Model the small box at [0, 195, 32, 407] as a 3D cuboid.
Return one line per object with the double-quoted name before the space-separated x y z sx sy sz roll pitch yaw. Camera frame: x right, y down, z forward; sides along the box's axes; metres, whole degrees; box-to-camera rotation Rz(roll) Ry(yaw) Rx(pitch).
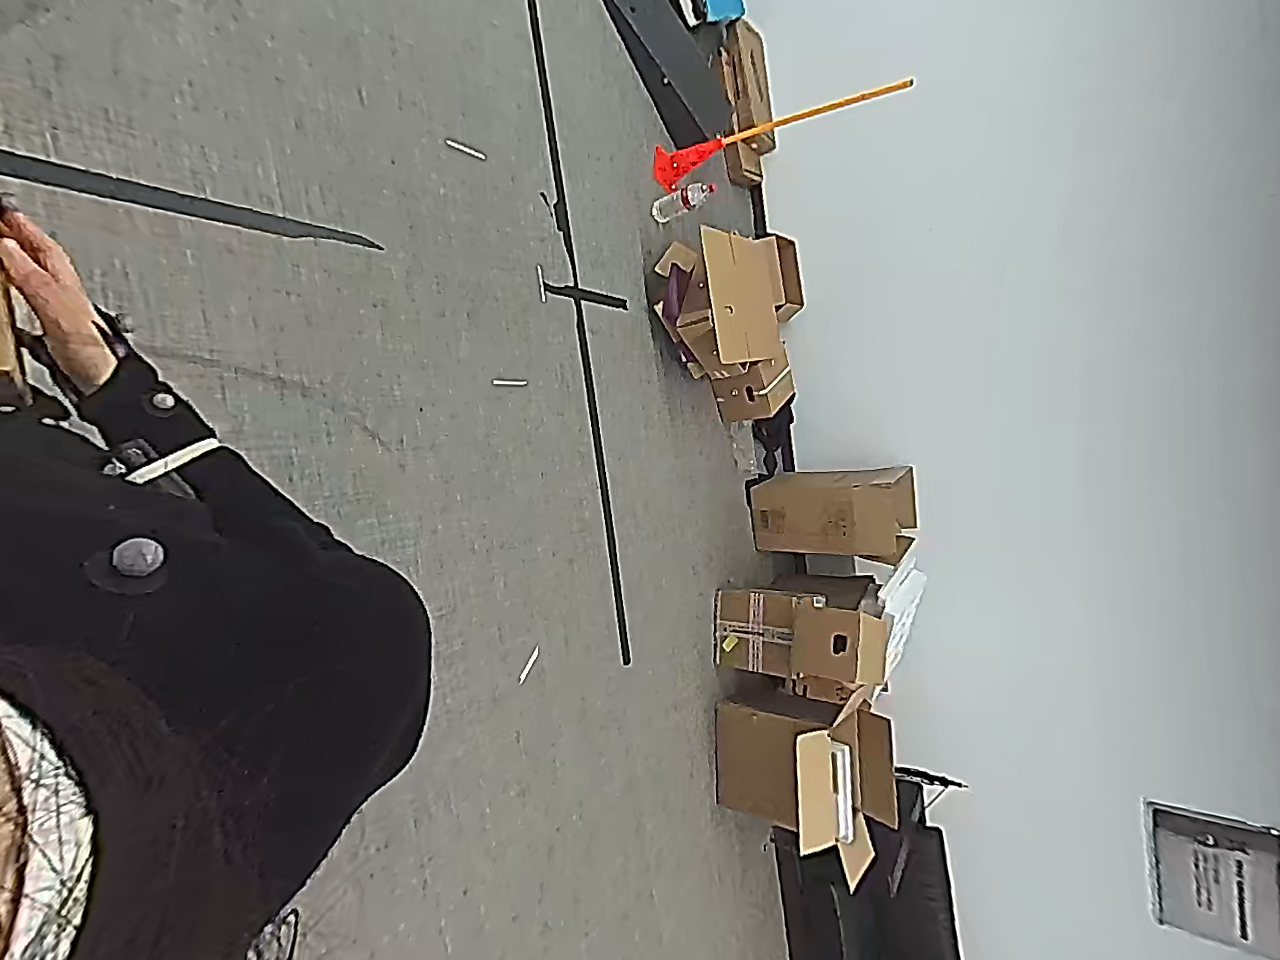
"small box" -0.493 -0.140 0.316 0.168 0.176 0.179 -10 96 -46
